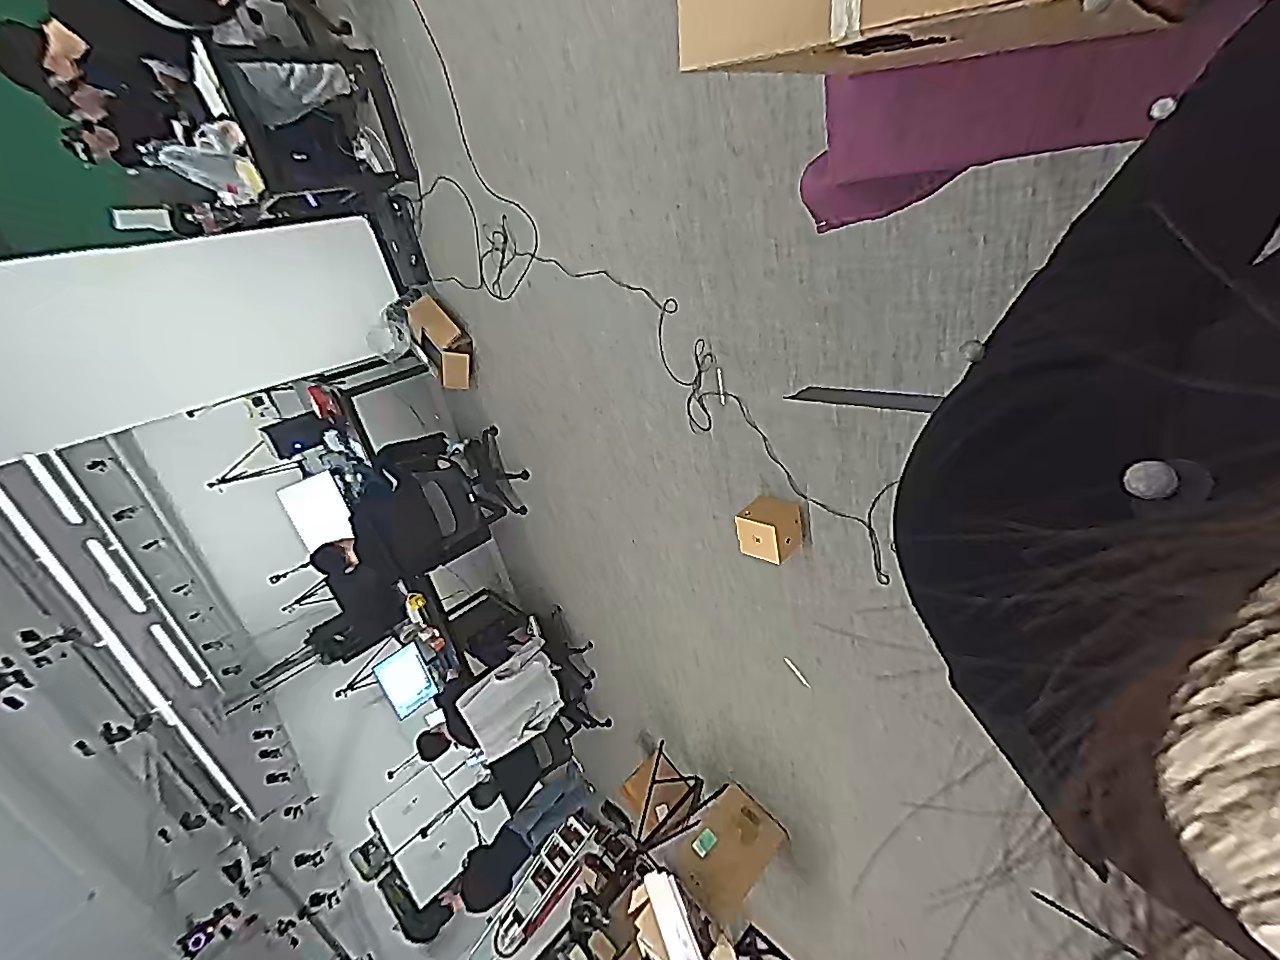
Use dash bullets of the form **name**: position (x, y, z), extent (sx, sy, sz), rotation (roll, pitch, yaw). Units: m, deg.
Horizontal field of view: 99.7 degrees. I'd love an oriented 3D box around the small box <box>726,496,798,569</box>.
- **small box**: position (0.442, 0.193, 1.994), extent (0.179, 0.176, 0.168), rotation (56, 170, -29)
